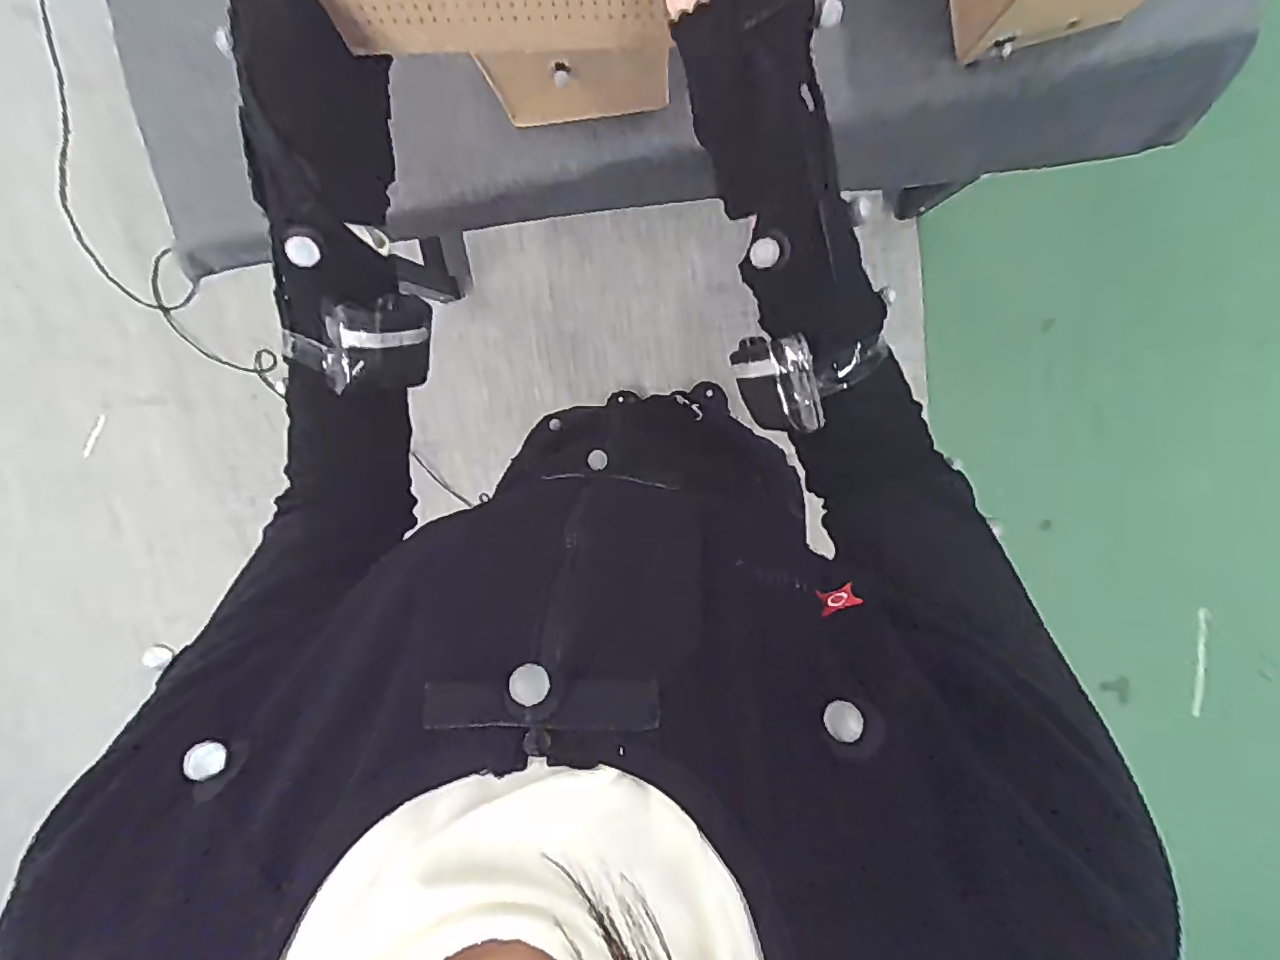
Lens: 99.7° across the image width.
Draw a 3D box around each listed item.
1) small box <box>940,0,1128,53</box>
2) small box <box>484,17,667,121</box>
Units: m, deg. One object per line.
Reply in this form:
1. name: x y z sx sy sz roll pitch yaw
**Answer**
1. small box: 0.386 -0.528 0.482 0.168 0.176 0.179 -12 99 6
2. small box: -0.068 -0.477 0.521 0.179 0.176 0.168 -5 100 4
